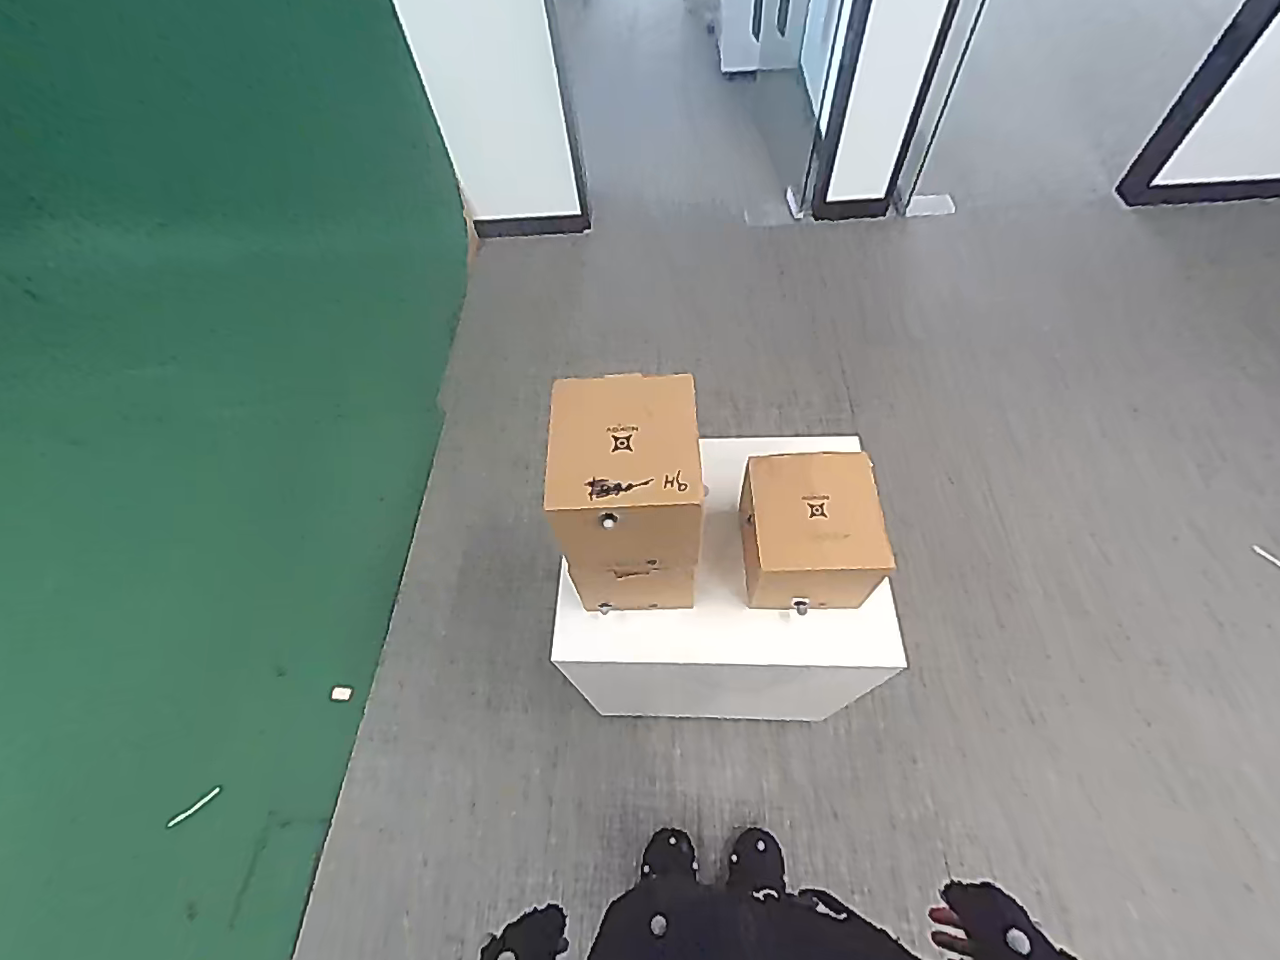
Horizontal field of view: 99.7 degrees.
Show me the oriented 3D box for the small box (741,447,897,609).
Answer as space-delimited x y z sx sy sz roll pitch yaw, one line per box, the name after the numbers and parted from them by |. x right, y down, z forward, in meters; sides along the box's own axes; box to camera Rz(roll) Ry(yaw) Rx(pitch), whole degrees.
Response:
0.238 0.072 0.770 0.168 0.176 0.179 -4 61 5 | small box

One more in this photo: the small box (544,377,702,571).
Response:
-0.014 -0.003 0.663 0.168 0.176 0.179 -3 58 3 | small box

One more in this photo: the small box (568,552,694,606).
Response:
-0.006 0.082 0.802 0.168 0.176 0.179 -3 58 3 | small box
